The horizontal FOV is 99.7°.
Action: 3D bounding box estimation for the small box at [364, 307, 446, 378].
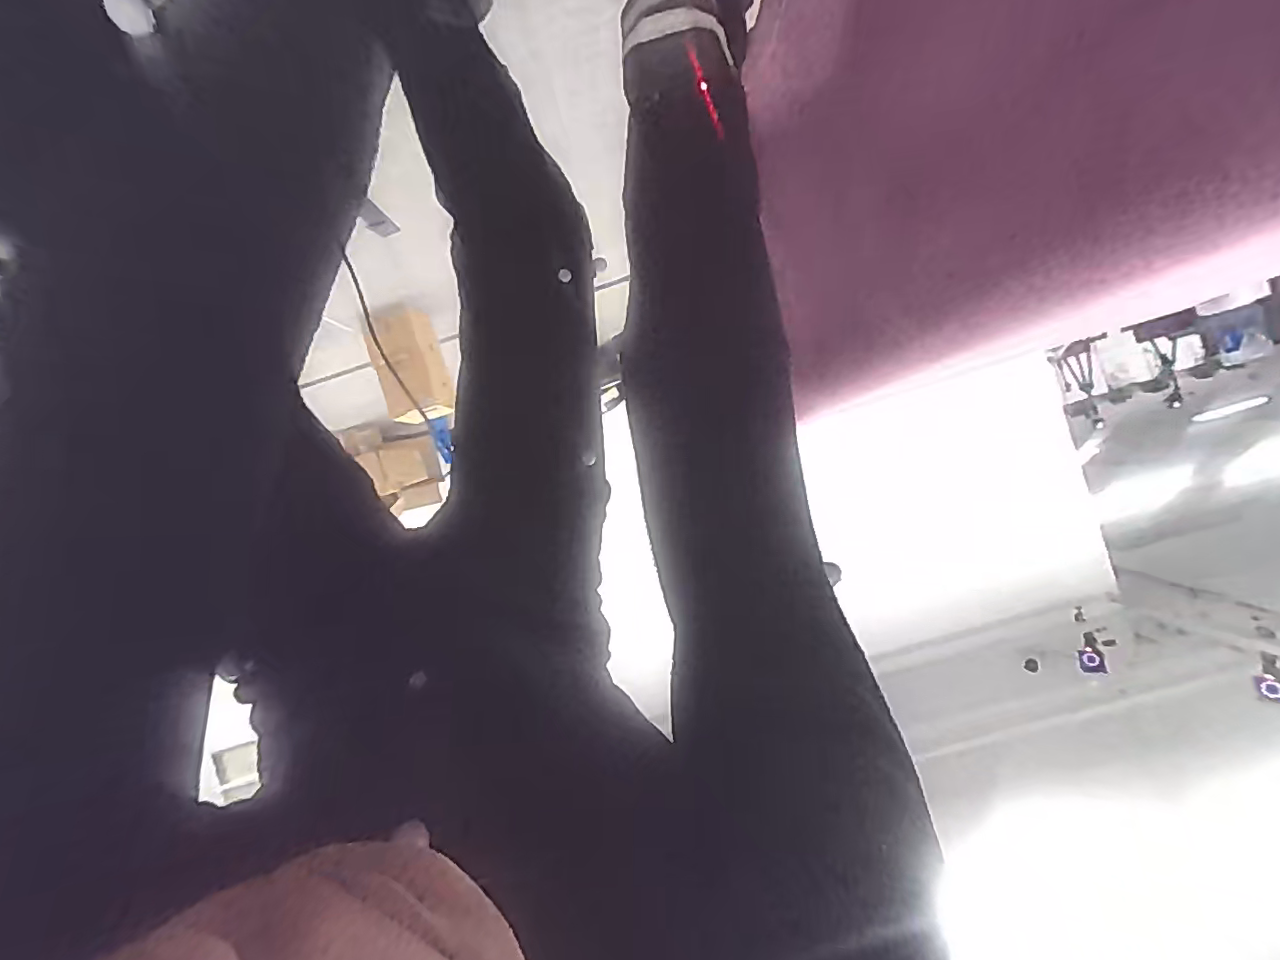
[{"bbox_3d":[-0.773,-0.453,1.787,0.168,0.176,0.179,-17,179,6],"label":"small box"}]
